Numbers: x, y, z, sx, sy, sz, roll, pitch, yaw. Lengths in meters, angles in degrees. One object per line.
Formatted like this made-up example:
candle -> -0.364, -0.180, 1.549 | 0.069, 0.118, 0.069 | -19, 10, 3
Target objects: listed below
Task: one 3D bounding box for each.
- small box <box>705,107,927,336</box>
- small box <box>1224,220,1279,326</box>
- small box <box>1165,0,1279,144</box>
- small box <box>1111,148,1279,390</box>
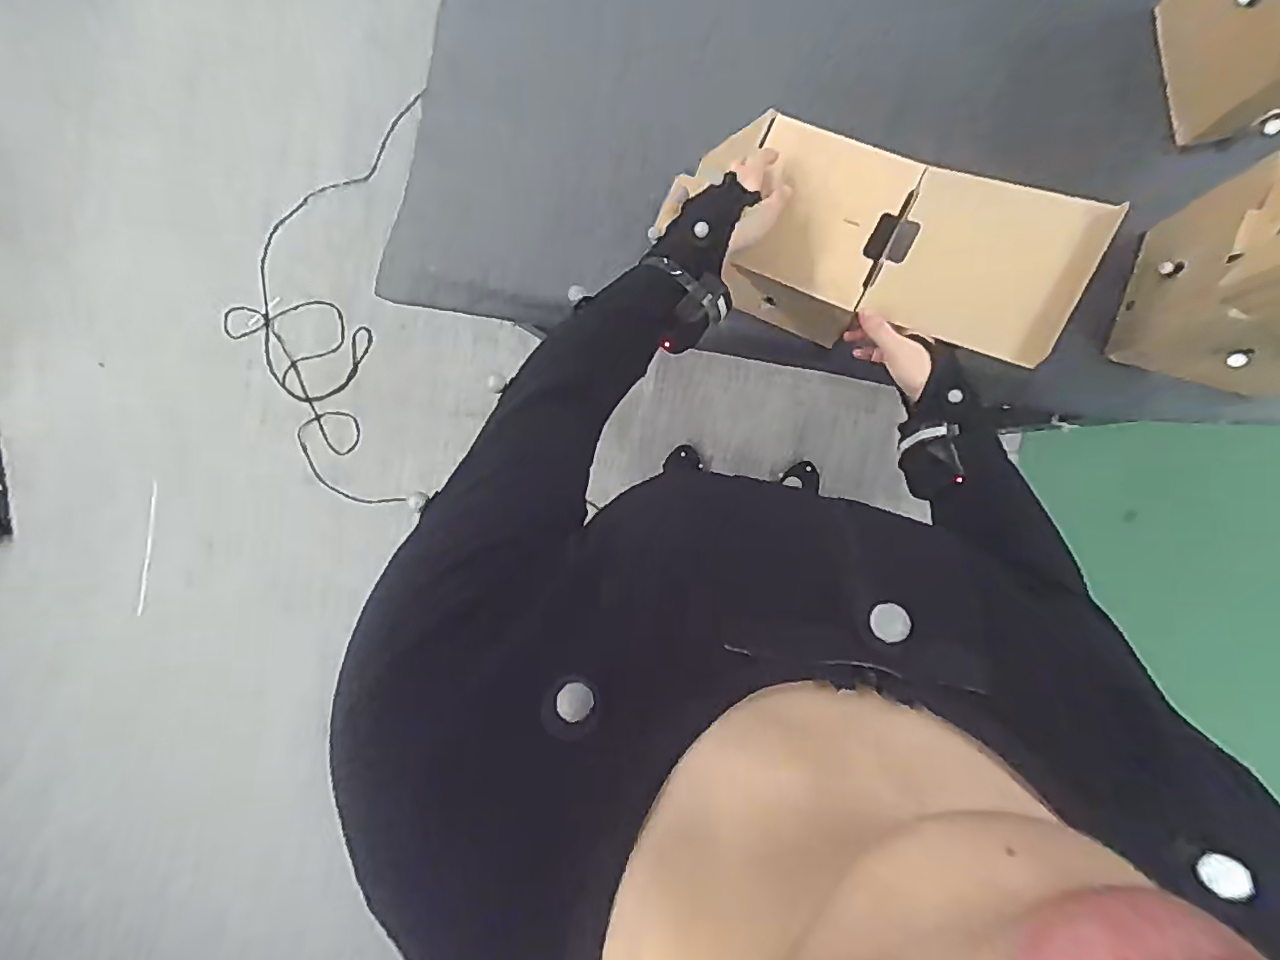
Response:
small box -> 0.198, -0.289, 0.648 | 0.179, 0.176, 0.168 | 27, 96, 10
small box -> 0.634, -0.189, 0.407 | 0.179, 0.176, 0.168 | 40, 95, 7
small box -> 0.695, -0.492, 0.553 | 0.168, 0.176, 0.179 | -10, 92, 13
small box -> 0.660, -0.204, 0.568 | 0.179, 0.176, 0.168 | 19, 92, 9
